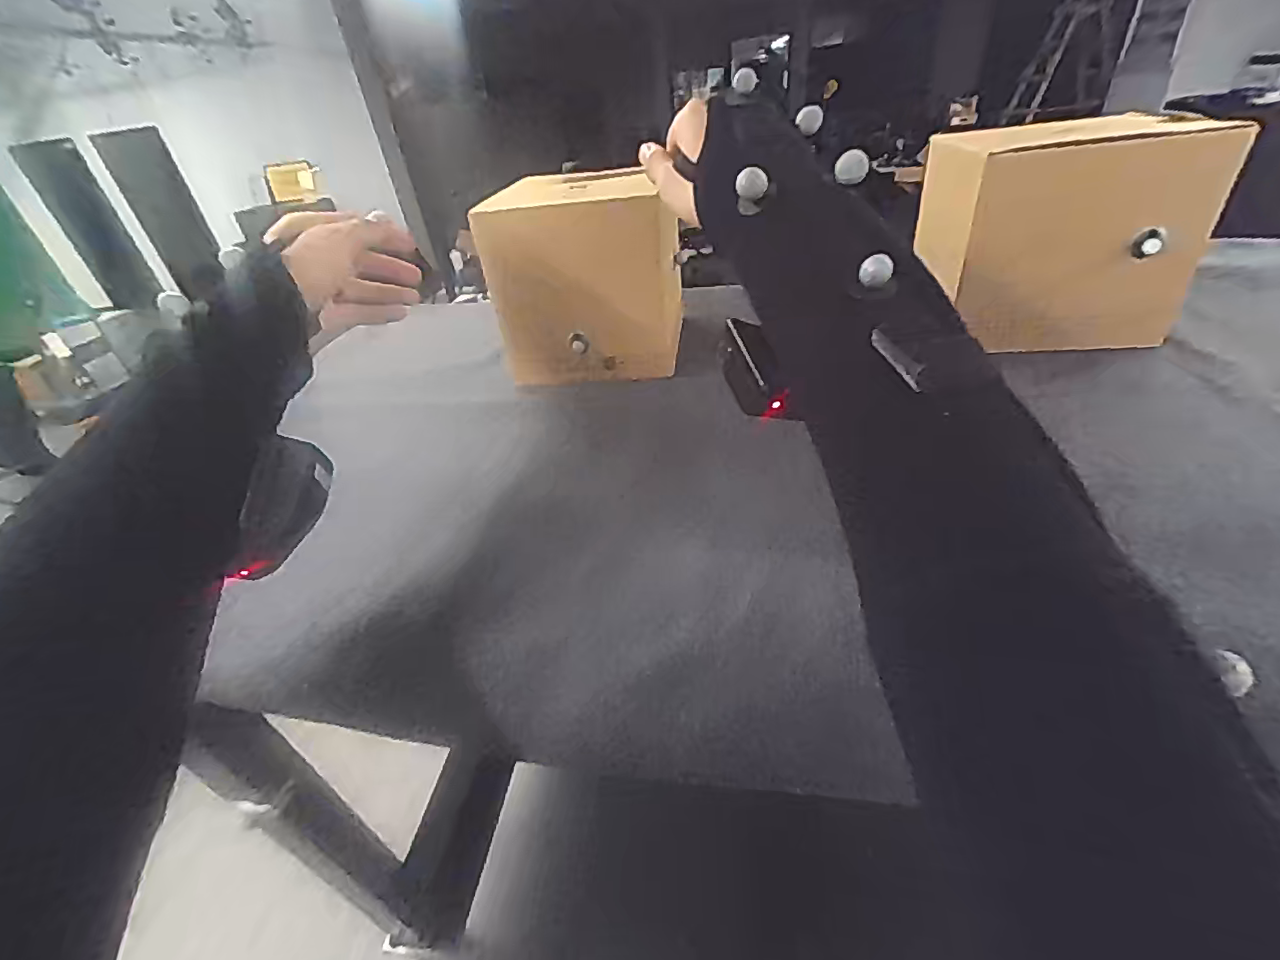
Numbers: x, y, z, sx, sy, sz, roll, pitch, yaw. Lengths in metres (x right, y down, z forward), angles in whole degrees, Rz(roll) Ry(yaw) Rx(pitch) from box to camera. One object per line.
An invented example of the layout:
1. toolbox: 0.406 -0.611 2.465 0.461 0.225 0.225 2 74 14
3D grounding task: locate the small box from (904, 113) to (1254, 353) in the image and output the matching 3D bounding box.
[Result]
1. small box: 0.367 -0.227 0.501 0.179 0.176 0.168 1 35 12
